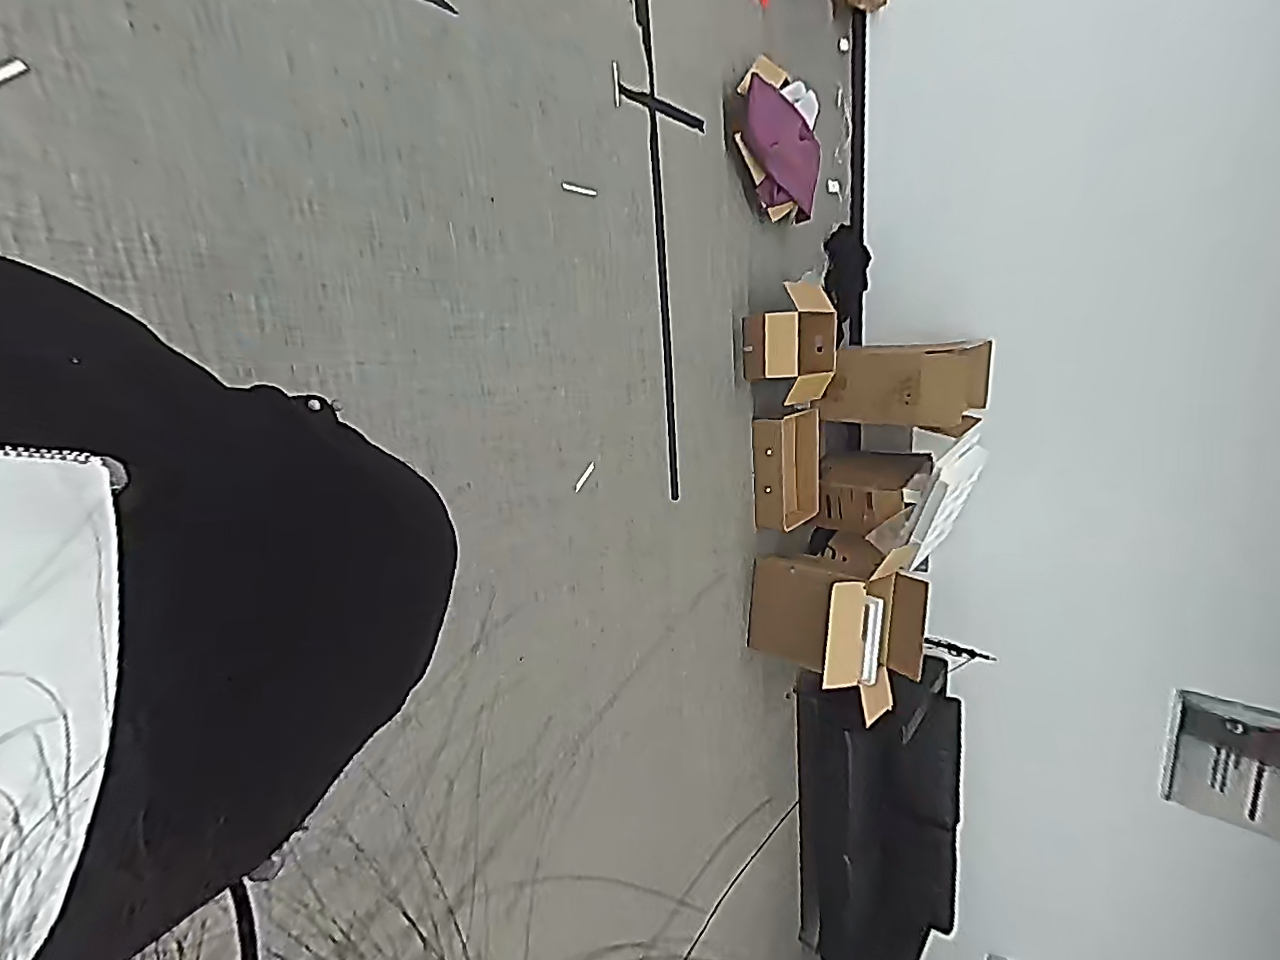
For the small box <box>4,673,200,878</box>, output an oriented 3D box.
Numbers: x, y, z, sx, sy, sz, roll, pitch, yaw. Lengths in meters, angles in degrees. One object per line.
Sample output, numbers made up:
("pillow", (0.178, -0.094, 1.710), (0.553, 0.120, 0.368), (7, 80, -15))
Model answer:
("small box", (-0.799, 0.427, 0.814), (0.168, 0.176, 0.179), (-21, 110, -44))
